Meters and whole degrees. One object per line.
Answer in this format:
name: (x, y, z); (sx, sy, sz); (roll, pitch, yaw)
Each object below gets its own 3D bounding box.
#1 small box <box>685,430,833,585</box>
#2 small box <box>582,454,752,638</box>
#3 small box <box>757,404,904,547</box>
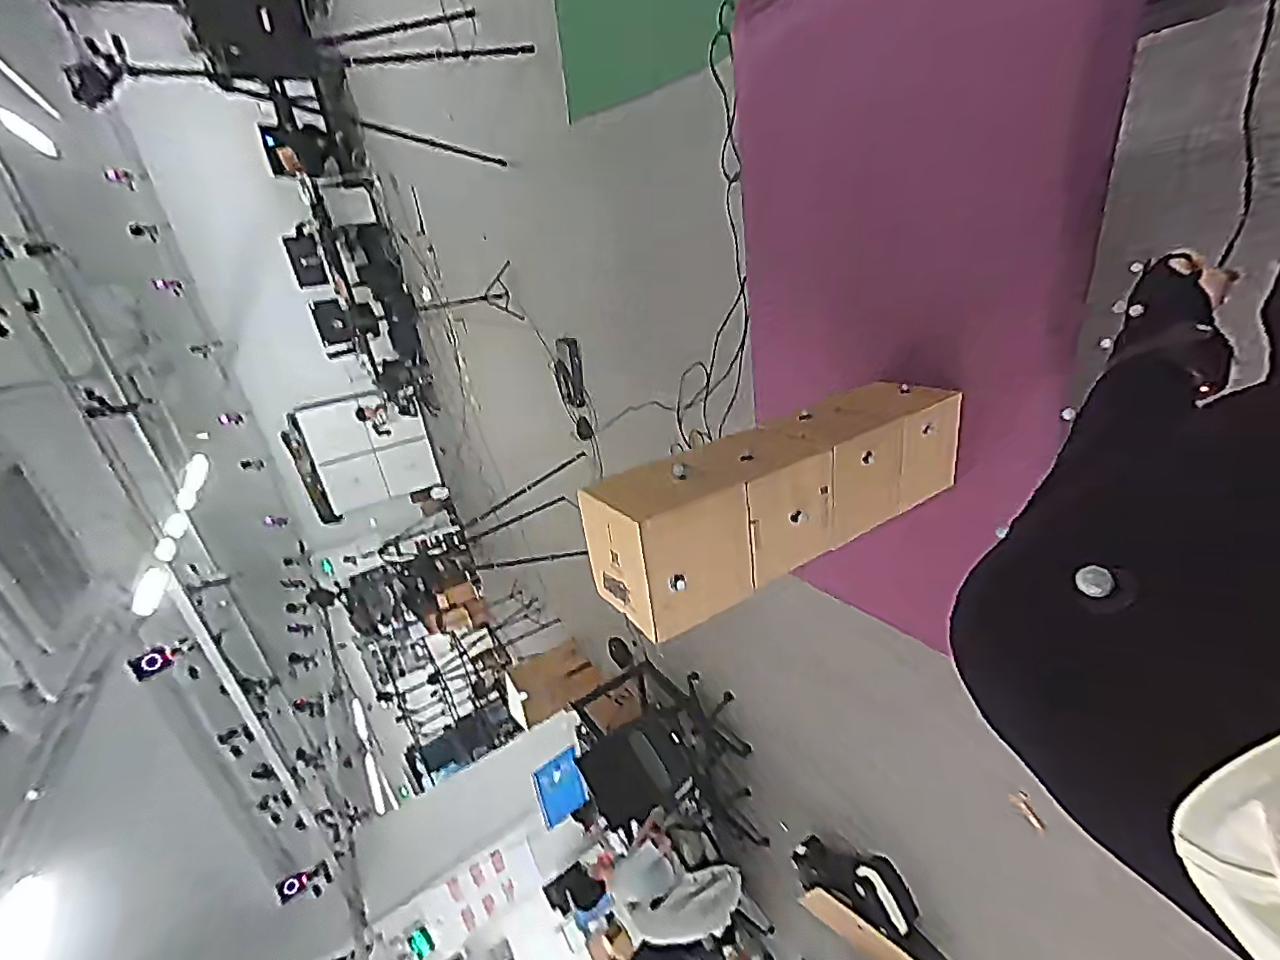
small box: (0.177, 0.030, 0.833); (0.179, 0.176, 0.168); (24, 127, 54)
small box: (0.041, 0.080, 0.754); (0.168, 0.176, 0.179); (24, 128, 55)
small box: (0.316, -0.019, 0.902); (0.168, 0.176, 0.179); (26, 130, 54)
